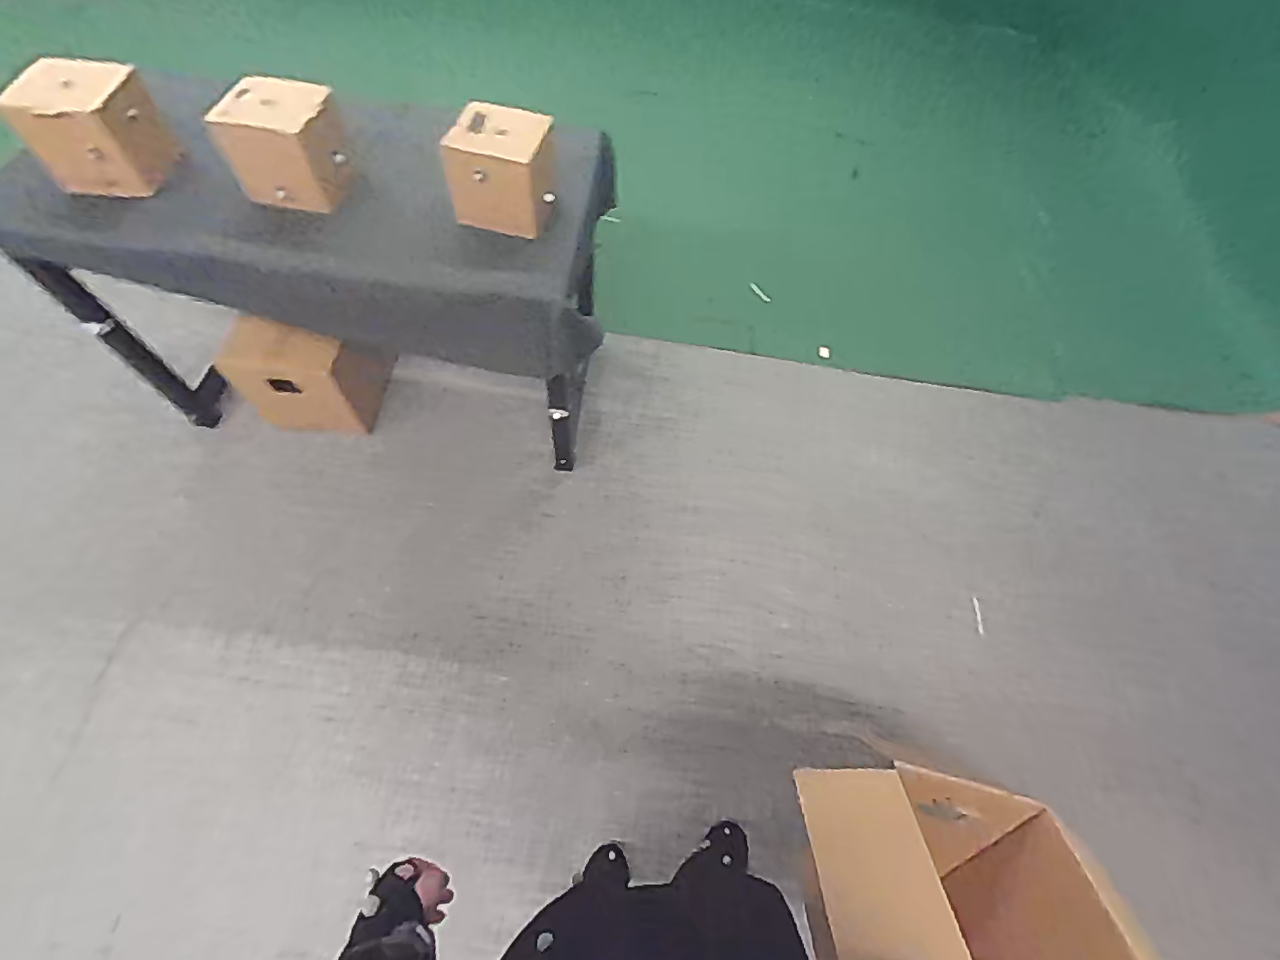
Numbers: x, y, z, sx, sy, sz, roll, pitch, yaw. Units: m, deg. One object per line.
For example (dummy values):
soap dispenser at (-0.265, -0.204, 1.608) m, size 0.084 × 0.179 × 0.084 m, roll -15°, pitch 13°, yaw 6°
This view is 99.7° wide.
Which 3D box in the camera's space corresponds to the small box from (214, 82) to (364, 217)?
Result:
small box at (-0.706, -0.674, 1.115) m, size 0.179 × 0.176 × 0.168 m, roll 10°, pitch 61°, yaw 0°

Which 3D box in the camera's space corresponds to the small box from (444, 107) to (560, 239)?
small box at (-0.276, -0.632, 1.125) m, size 0.179 × 0.176 × 0.168 m, roll 13°, pitch 61°, yaw 2°

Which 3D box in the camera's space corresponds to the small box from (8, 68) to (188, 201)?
small box at (-1.074, -0.693, 1.096) m, size 0.168 × 0.176 × 0.179 m, roll 1°, pitch 59°, yaw -6°
